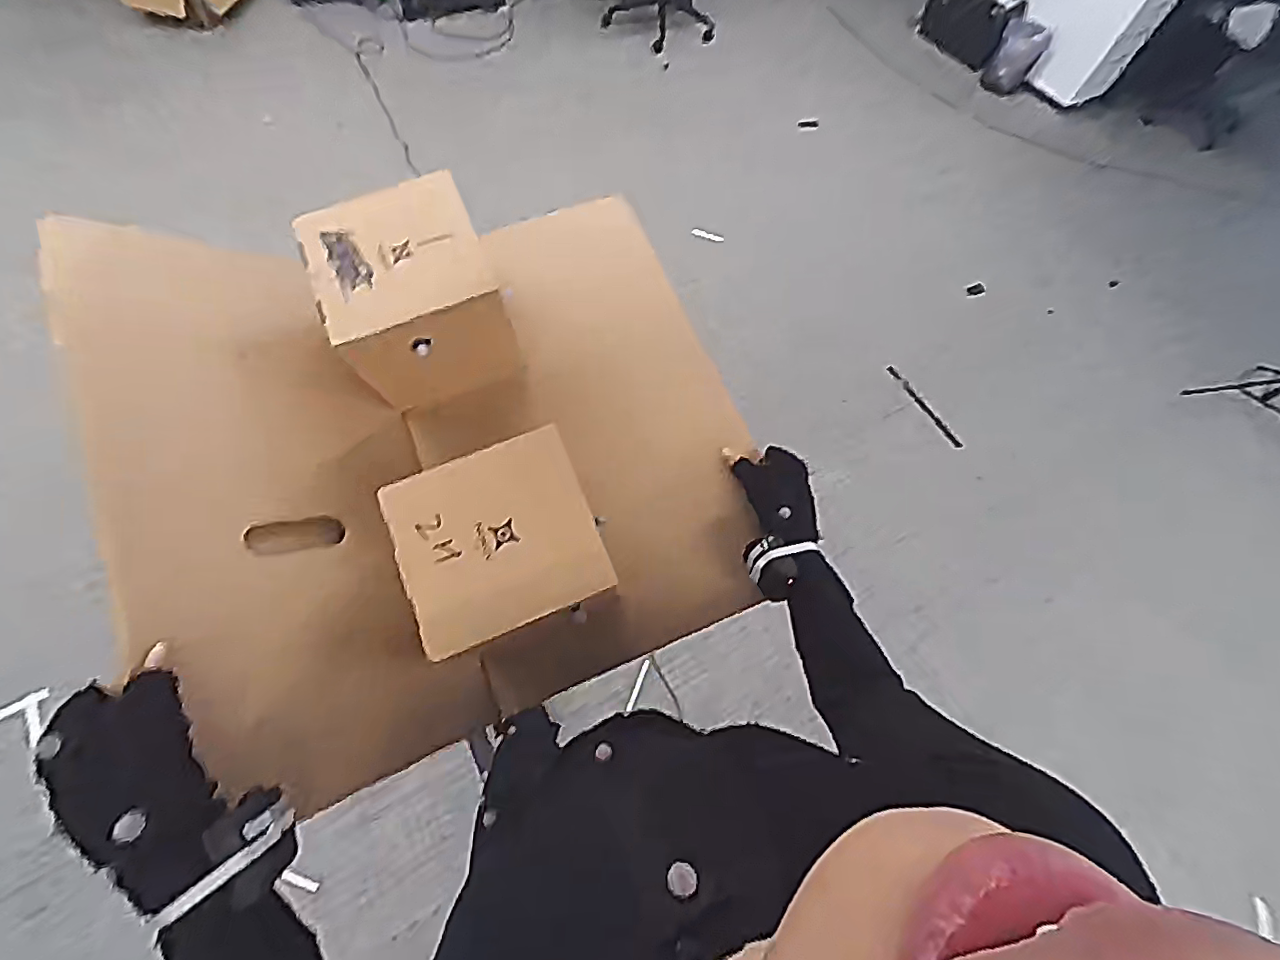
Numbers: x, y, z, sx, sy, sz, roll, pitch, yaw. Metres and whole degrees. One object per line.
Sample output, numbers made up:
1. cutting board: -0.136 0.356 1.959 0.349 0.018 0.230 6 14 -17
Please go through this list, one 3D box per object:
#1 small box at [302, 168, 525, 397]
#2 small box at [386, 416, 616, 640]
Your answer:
1. small box: -0.258 -0.224 0.653 0.179 0.176 0.168 -22 76 -7
2. small box: -0.133 0.058 0.577 0.179 0.176 0.168 -21 76 -6
